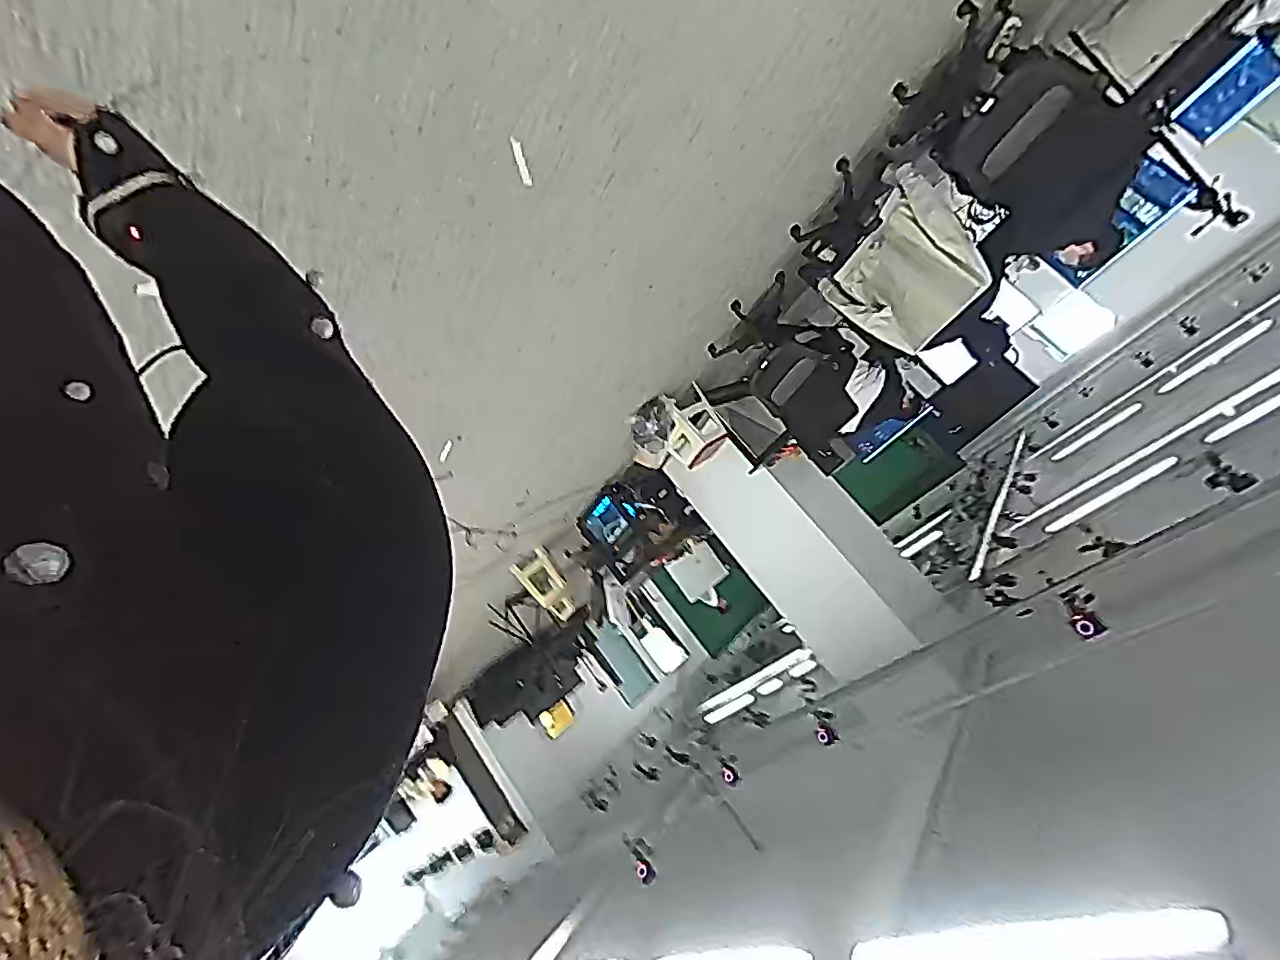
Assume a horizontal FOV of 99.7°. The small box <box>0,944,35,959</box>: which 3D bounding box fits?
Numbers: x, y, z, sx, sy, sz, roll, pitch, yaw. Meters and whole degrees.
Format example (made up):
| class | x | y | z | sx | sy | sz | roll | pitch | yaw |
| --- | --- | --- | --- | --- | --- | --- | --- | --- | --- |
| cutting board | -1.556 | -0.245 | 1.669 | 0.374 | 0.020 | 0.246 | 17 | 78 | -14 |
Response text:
| class | x | y | z | sx | sy | sz | roll | pitch | yaw |
| --- | --- | --- | --- | --- | --- | --- | --- | --- | --- |
| small box | -1.815 | 1.457 | 1.508 | 0.179 | 0.176 | 0.168 | -25 | 161 | -48 |
